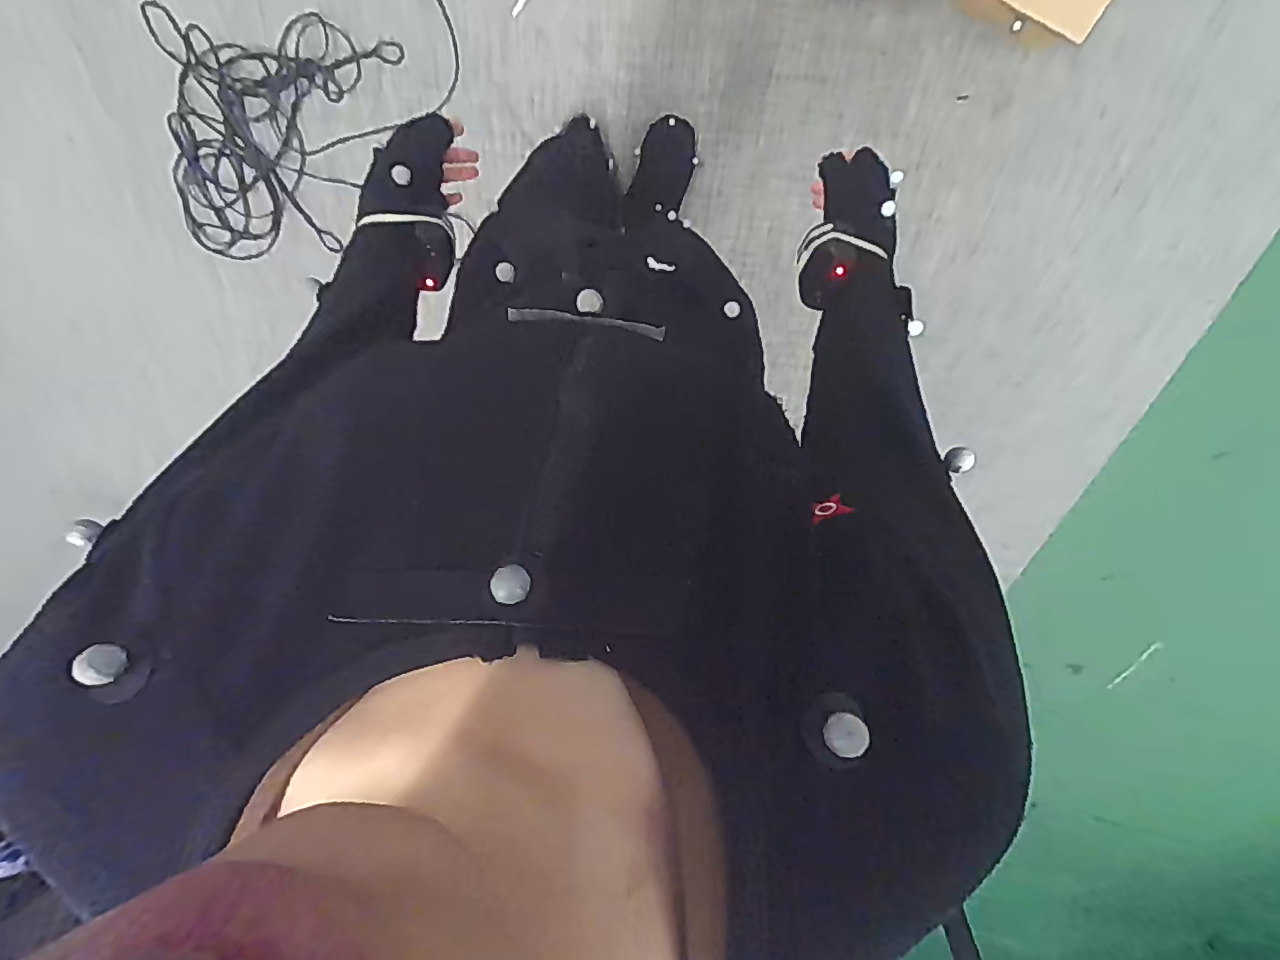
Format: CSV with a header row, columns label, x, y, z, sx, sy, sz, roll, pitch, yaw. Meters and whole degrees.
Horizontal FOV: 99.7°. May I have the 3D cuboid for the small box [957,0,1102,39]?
label,x,y,z,sx,sy,sz,roll,pitch,yaw
small box,0.685,-0.877,0.913,0.179,0.176,0.168,17,126,-11
